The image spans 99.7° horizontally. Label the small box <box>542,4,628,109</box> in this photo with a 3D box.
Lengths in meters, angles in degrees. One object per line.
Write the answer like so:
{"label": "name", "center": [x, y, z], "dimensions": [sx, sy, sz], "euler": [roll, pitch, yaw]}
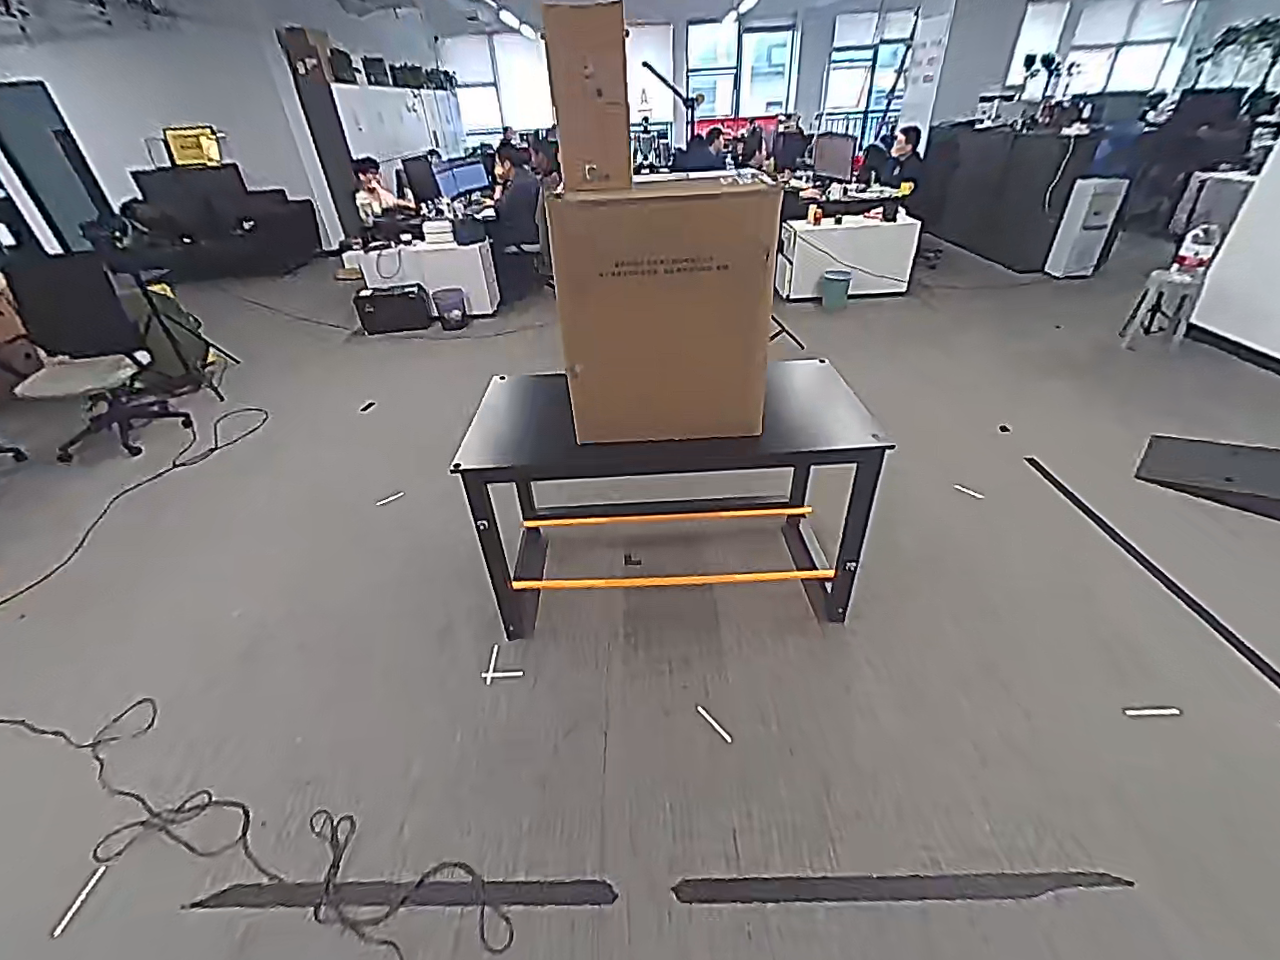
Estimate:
{"label": "small box", "center": [-0.115, -0.919, 1.185], "dimensions": [0.168, 0.176, 0.179], "euler": [-5, 36, -2]}

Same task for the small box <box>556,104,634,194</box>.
{"label": "small box", "center": [-0.105, -0.786, 1.283], "dimensions": [0.168, 0.176, 0.179], "euler": [-6, 37, -3]}
